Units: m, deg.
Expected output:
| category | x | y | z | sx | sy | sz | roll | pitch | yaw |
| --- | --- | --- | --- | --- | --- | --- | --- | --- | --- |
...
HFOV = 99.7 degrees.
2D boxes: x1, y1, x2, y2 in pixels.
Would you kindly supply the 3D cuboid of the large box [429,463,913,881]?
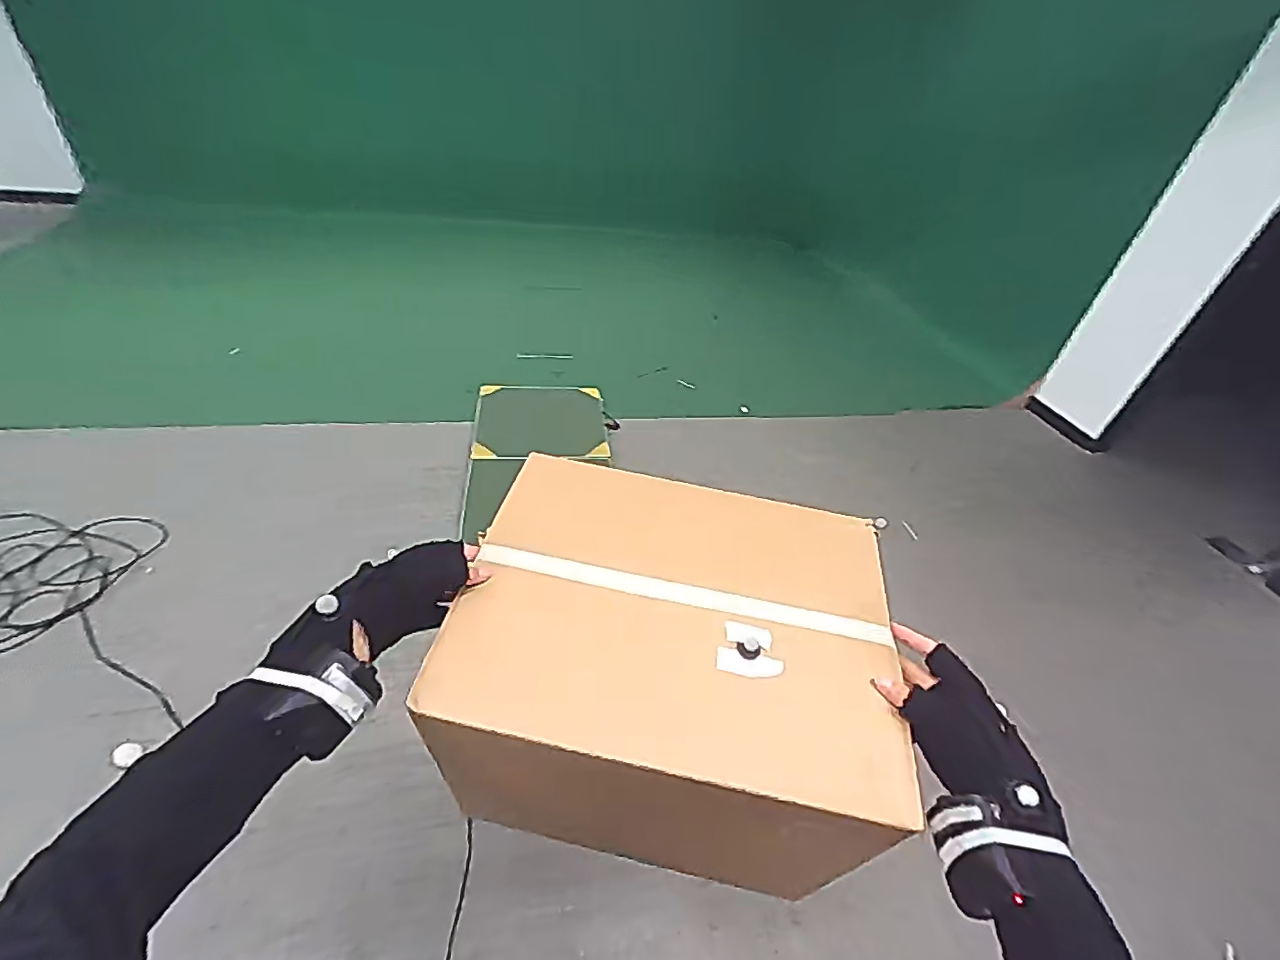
| category | x | y | z | sx | sy | sz | roll | pitch | yaw |
| --- | --- | --- | --- | --- | --- | --- | --- | --- | --- |
| large box | 0.026 | 0.222 | 0.638 | 0.408 | 0.320 | 0.320 | 11 | 45 | 3 |
